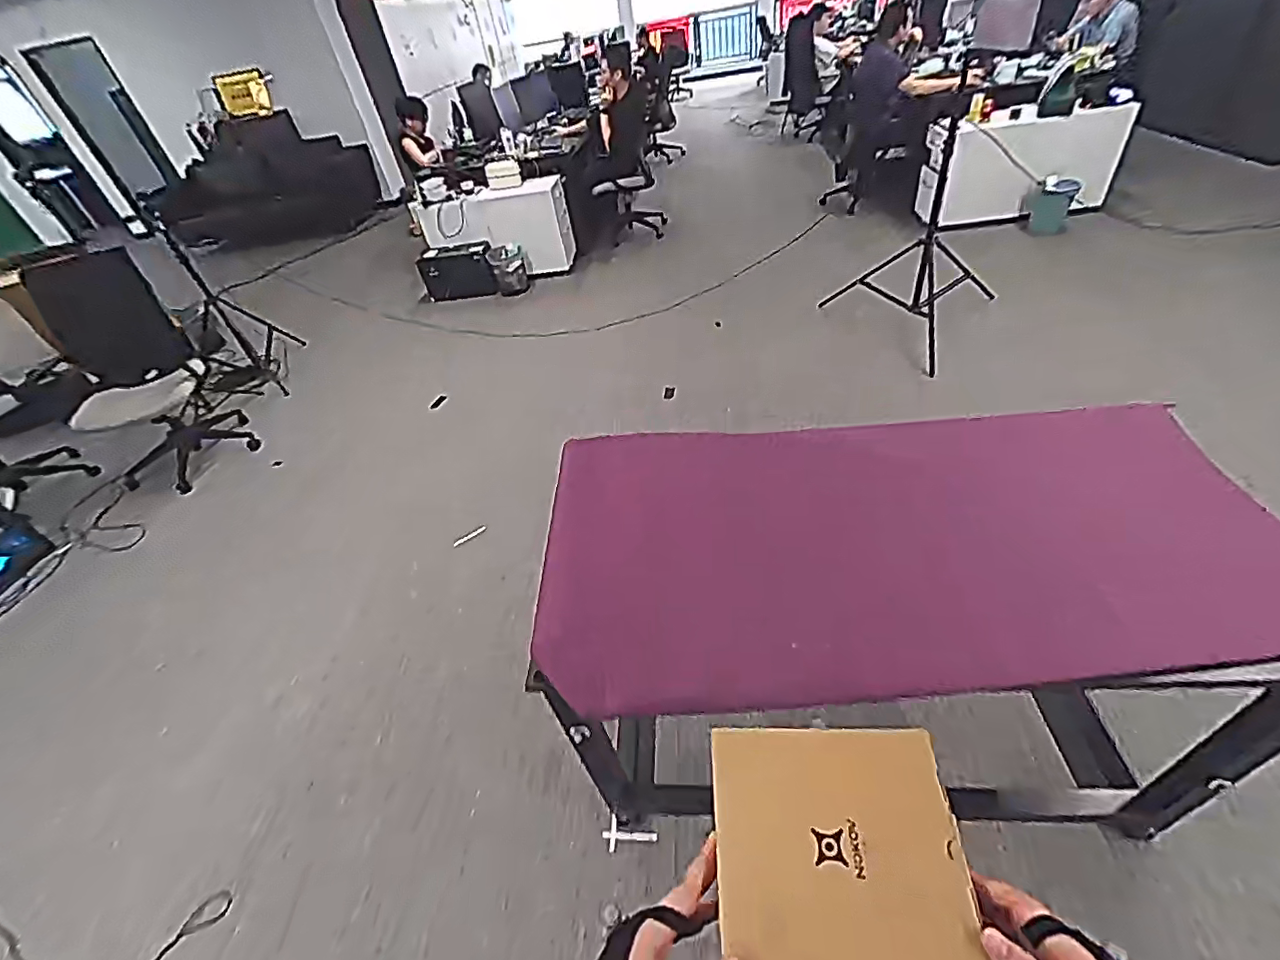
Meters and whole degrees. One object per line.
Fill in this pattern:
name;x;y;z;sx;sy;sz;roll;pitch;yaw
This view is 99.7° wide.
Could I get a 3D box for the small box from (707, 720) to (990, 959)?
small box;0.149;0.313;0.453;0.179;0.176;0.168;-2;50;6
